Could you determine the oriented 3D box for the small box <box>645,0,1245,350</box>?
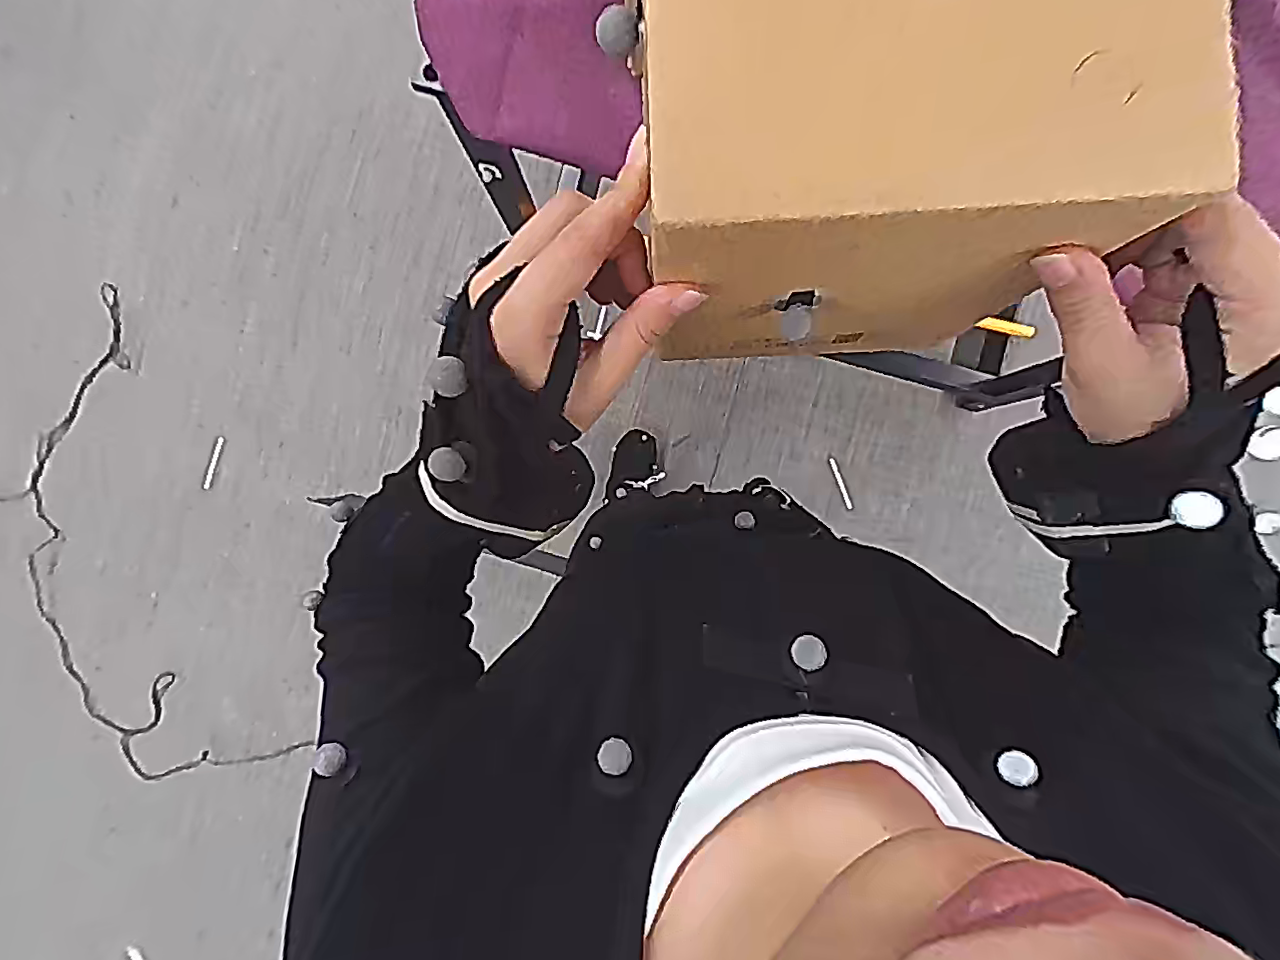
[{"bbox_3d":[0.087,-0.162,0.237,0.168,0.176,0.179,-3,88,3],"label":"small box"}]
